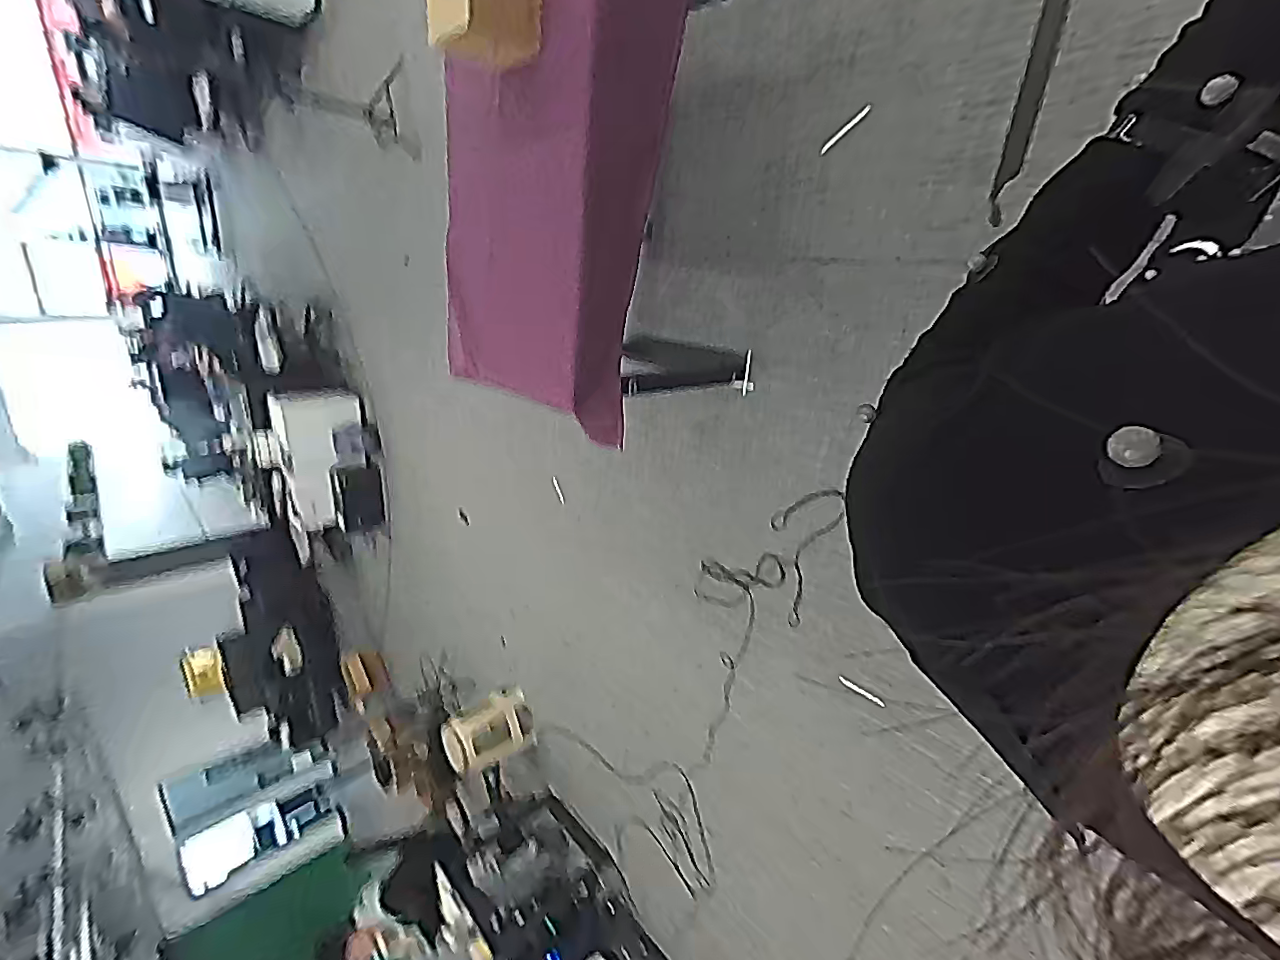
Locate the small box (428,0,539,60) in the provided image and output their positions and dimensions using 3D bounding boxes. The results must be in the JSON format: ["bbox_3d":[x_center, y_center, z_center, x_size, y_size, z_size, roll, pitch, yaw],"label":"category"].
[{"bbox_3d":[-0.317,-0.995,1.103,0.179,0.176,0.168,24,118,41],"label":"small box"}]
